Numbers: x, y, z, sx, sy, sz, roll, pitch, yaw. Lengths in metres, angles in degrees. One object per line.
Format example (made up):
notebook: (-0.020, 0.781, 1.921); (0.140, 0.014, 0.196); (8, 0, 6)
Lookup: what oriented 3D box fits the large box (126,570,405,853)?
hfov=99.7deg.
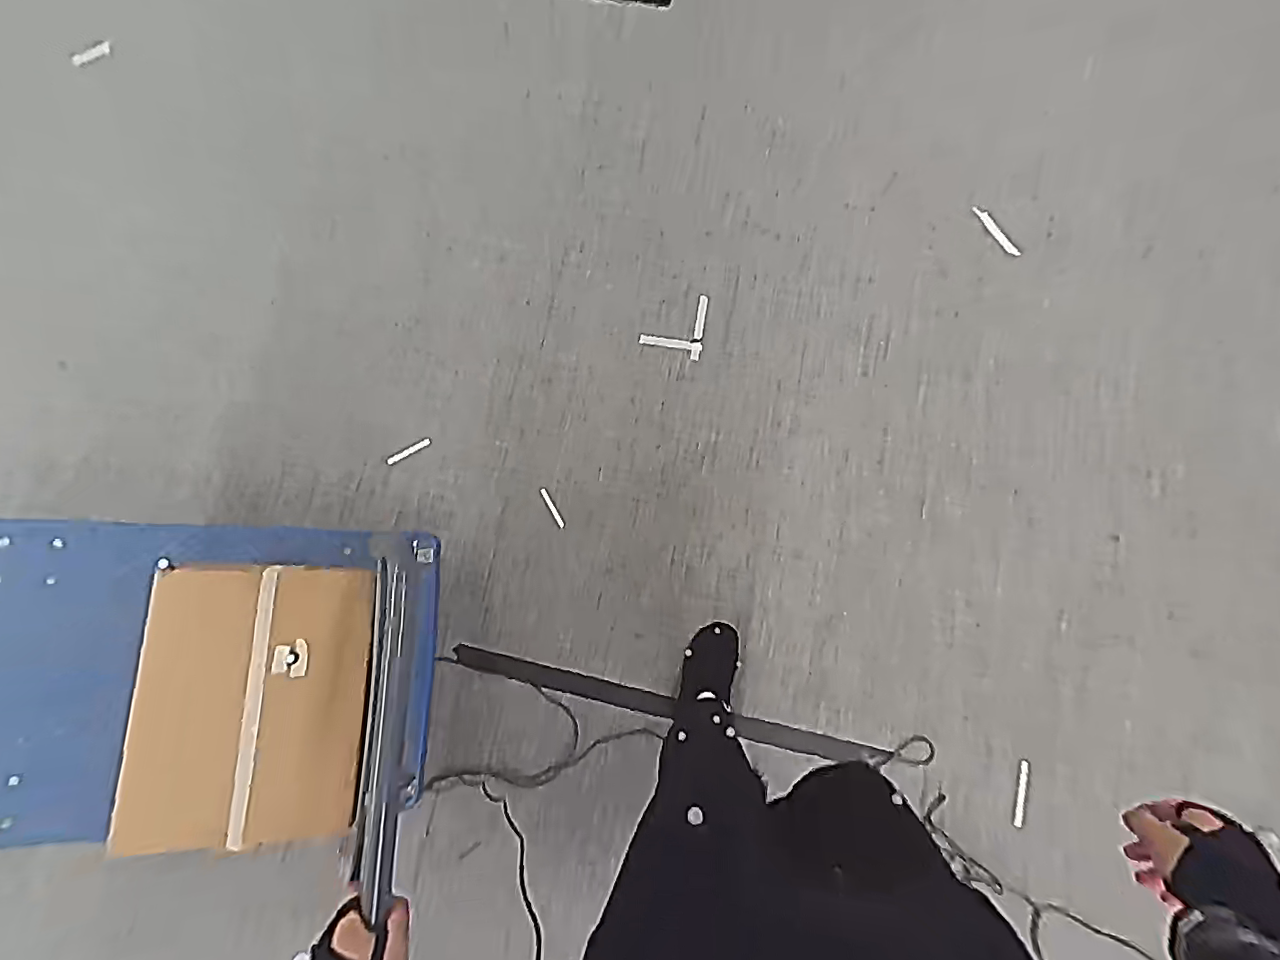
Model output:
large box: (-0.624, 0.370, 0.981); (0.320, 0.320, 0.408); (4, 80, -16)
